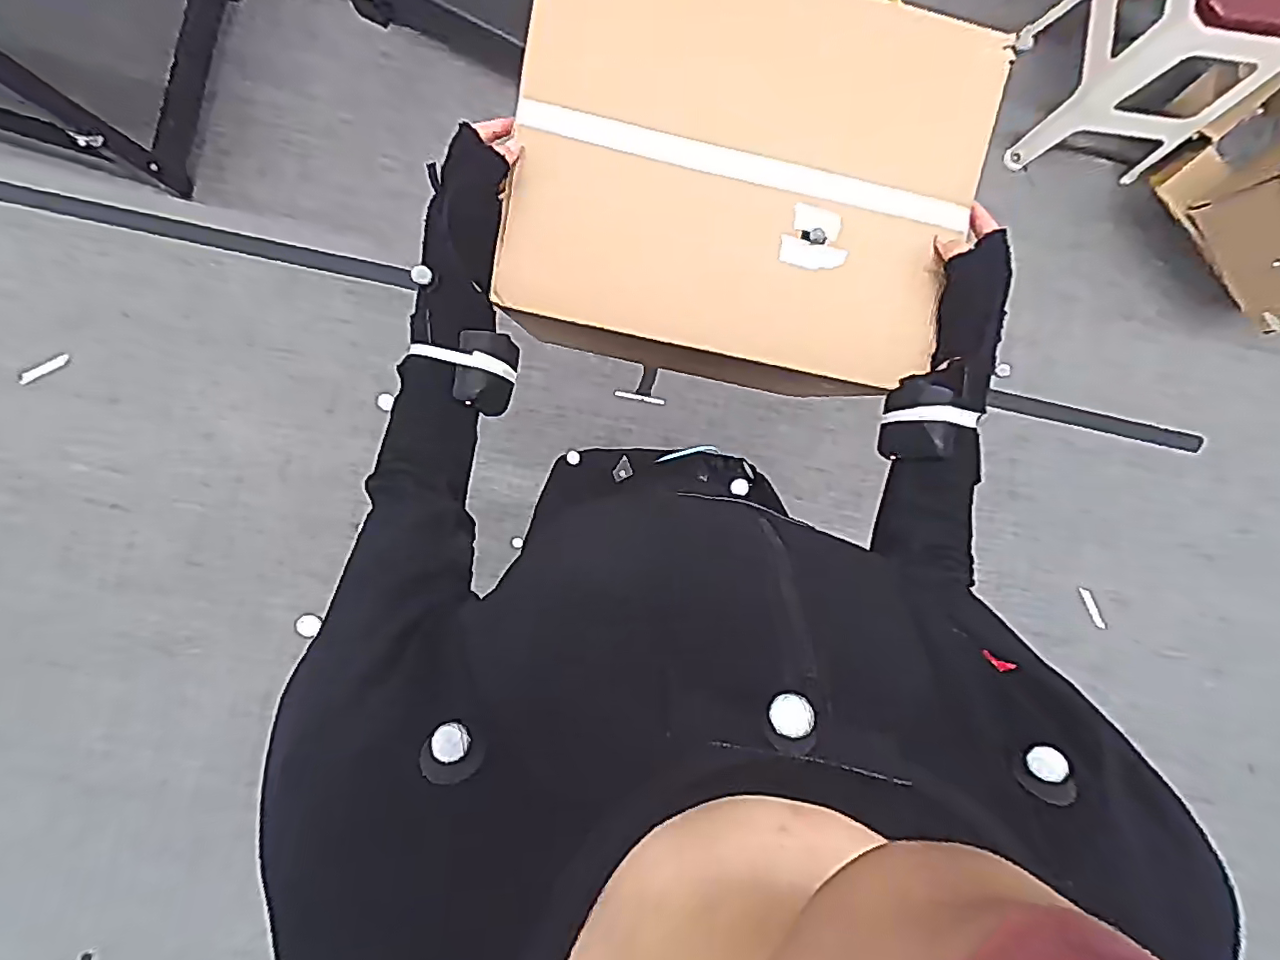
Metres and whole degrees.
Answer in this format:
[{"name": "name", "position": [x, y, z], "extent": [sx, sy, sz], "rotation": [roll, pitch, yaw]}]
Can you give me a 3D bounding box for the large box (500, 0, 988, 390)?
[{"name": "large box", "position": [0.081, -0.295, 0.632], "extent": [0.408, 0.320, 0.320], "rotation": [11, 98, -6]}]
